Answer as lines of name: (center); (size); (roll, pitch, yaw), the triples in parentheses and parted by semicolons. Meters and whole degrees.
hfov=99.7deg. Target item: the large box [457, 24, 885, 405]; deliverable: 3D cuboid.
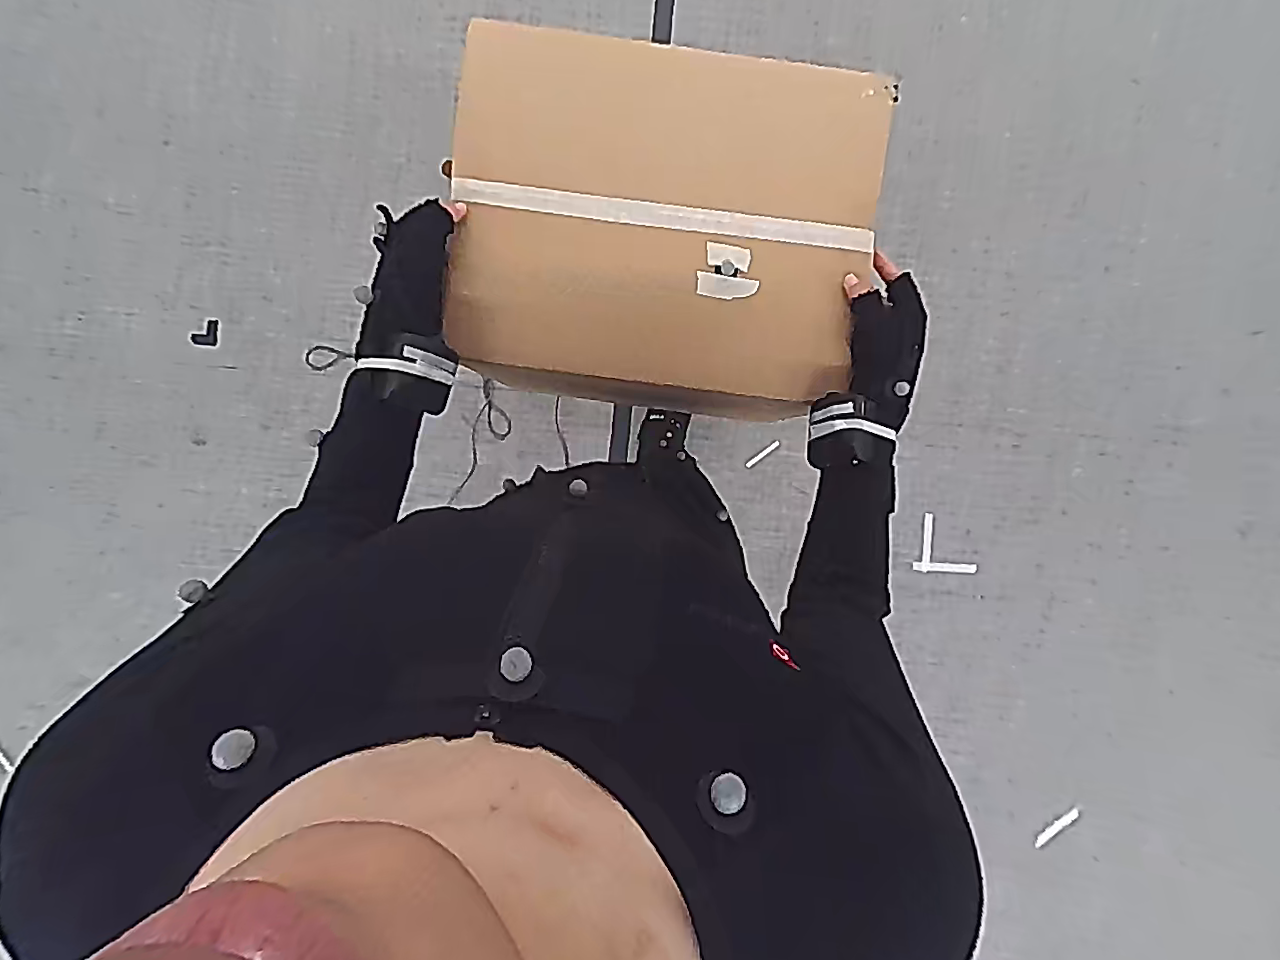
large box: (0.024, -0.278, 0.682); (0.408, 0.320, 0.320); (7, 94, -1)
